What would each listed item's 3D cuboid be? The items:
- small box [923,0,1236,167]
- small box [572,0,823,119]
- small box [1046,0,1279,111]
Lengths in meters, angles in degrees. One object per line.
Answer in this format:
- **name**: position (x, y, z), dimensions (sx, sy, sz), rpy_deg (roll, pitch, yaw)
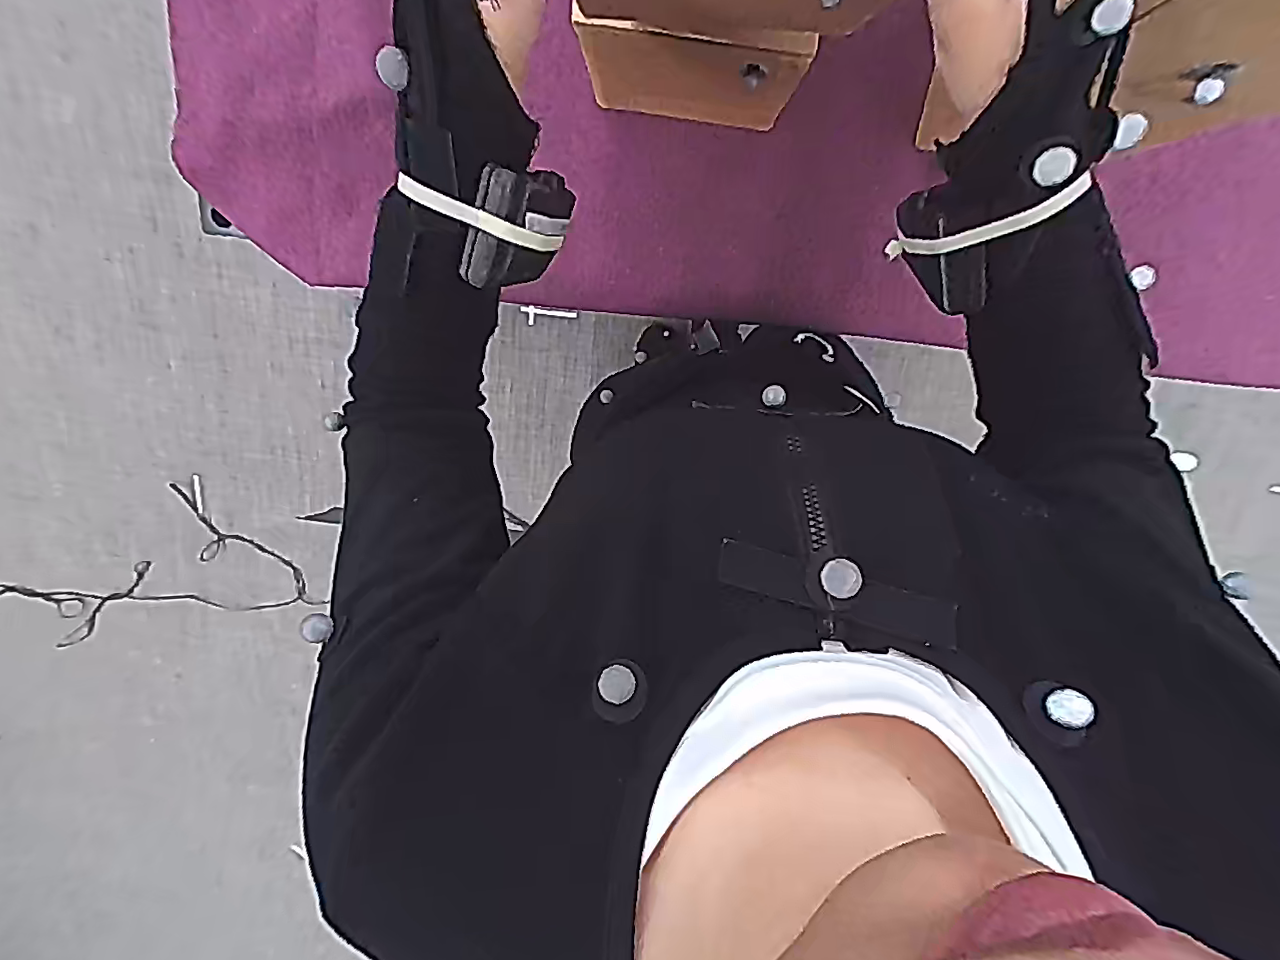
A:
- **small box**: position (0.362, -0.380, 0.435), dimensions (0.168, 0.176, 0.179), rpy_deg (8, 108, -1)
- **small box**: position (0.049, -0.415, 0.432), dimensions (0.179, 0.176, 0.168), rpy_deg (7, 108, -2)
- **small box**: position (0.363, -0.329, 0.278), dimensions (0.168, 0.176, 0.179), rpy_deg (8, 108, 0)
